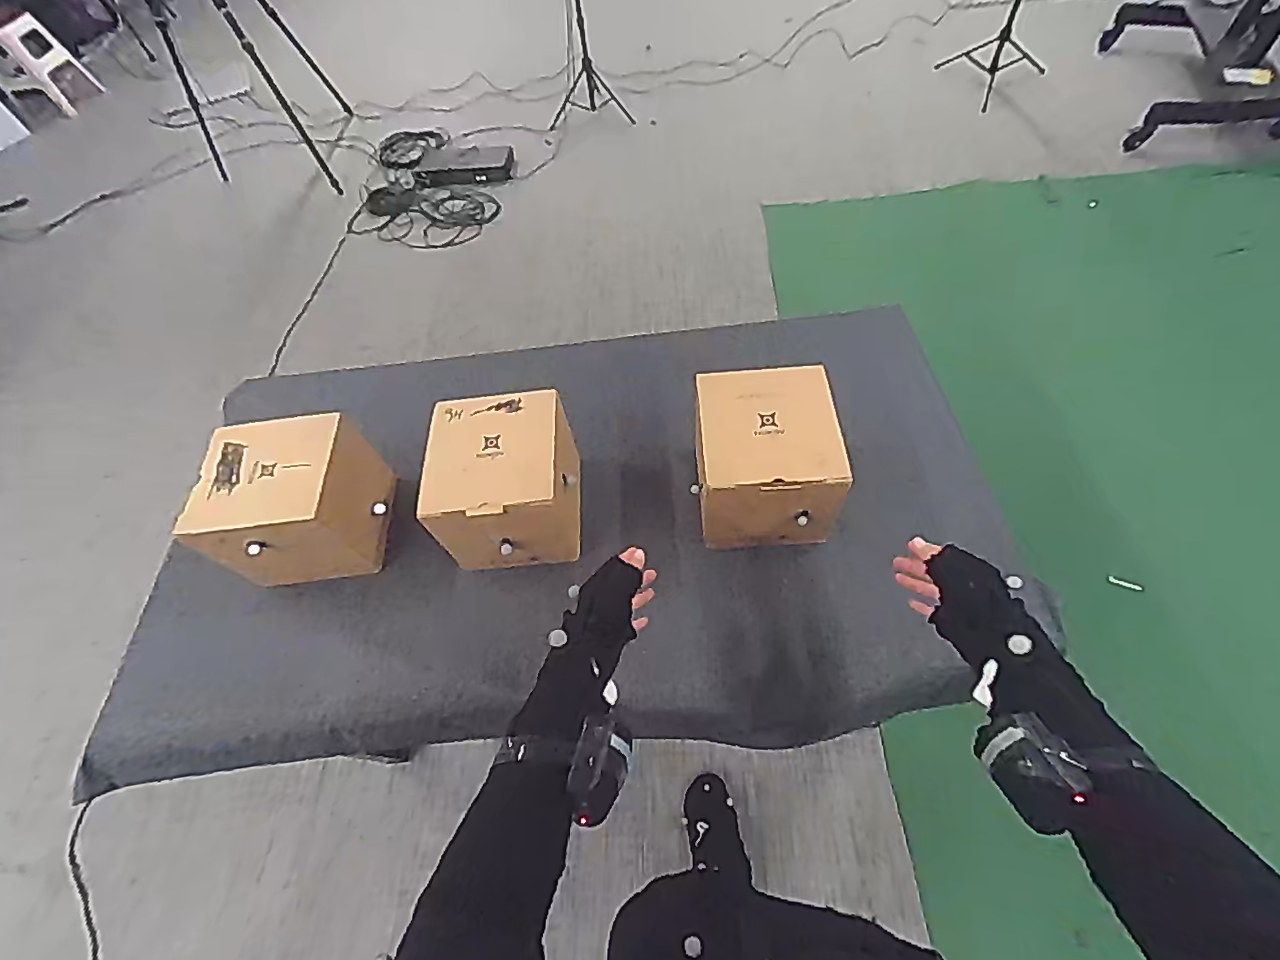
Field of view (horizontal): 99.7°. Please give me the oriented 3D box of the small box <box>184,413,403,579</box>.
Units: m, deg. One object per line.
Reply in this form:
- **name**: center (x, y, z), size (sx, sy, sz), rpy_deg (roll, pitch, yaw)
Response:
- **small box**: center (-0.464, 0.029, 0.757), size (0.179, 0.176, 0.168), rpy_deg (-7, 58, 1)

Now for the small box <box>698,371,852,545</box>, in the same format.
- **small box**: center (0.165, -0.021, 0.725), size (0.168, 0.176, 0.179), rpy_deg (-3, 57, 3)

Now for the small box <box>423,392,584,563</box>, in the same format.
- **small box**: center (-0.172, 0.006, 0.743), size (0.168, 0.176, 0.179), rpy_deg (-5, 58, 3)
